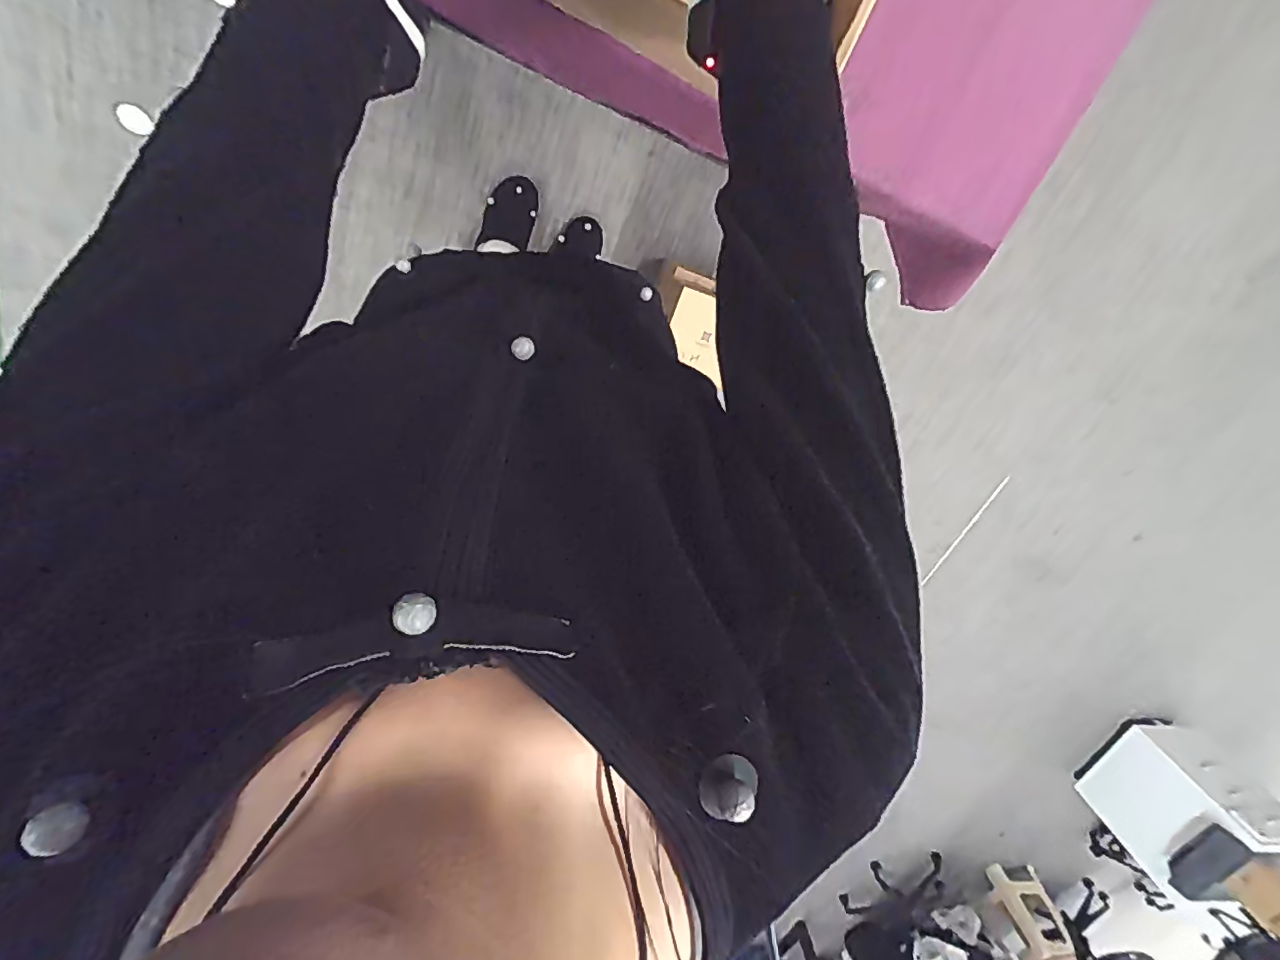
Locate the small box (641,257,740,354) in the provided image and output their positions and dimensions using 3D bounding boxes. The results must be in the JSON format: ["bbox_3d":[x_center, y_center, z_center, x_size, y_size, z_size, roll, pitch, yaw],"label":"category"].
[{"bbox_3d":[0.116,-0.436,1.337,0.179,0.176,0.168,16,116,-16],"label":"small box"}]
